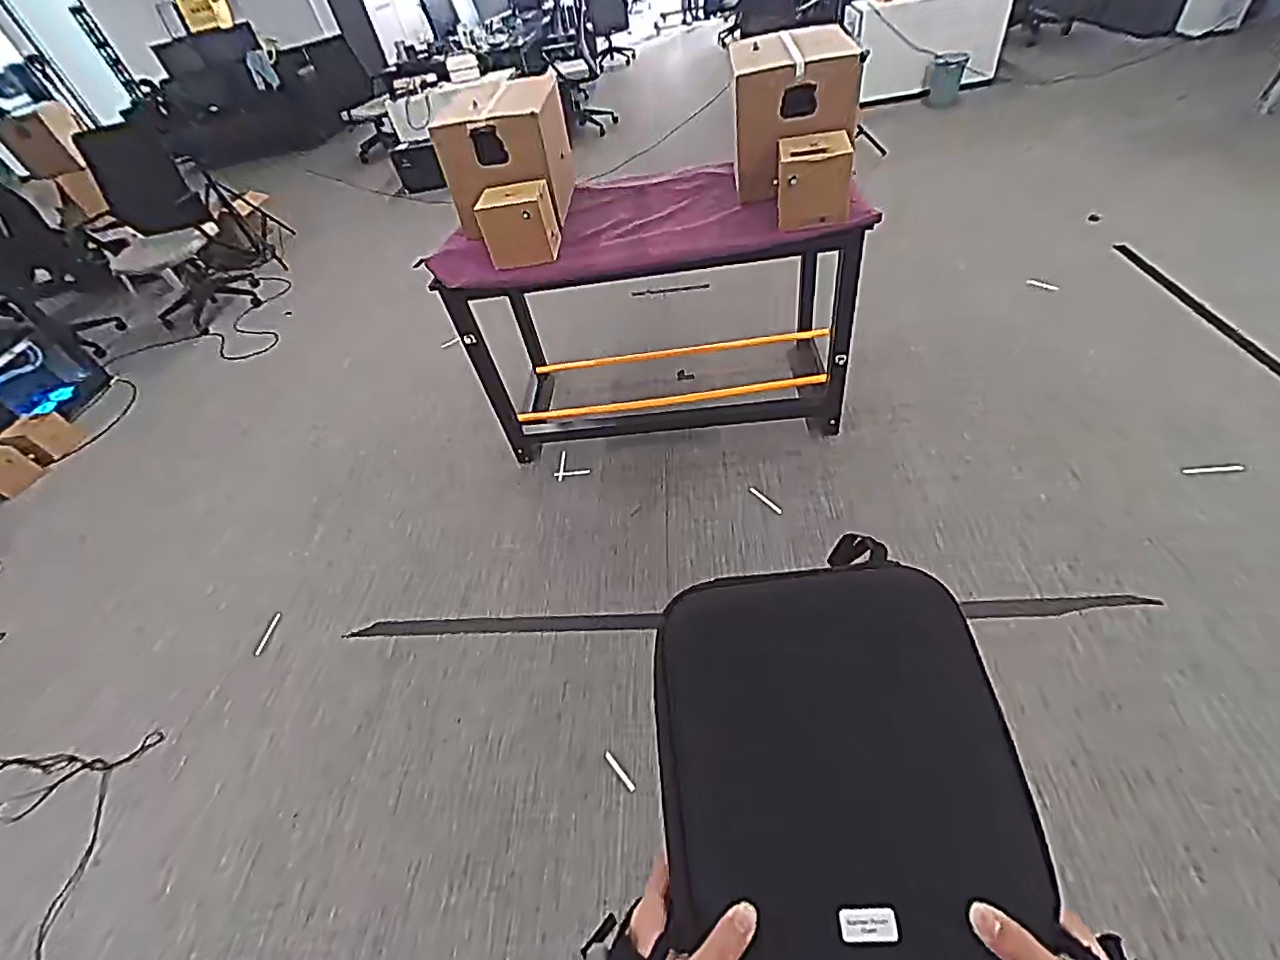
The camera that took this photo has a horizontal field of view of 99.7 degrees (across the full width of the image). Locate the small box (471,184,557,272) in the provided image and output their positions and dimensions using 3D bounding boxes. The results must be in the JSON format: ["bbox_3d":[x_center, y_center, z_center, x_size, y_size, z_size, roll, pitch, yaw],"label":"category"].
[{"bbox_3d":[-0.345,-0.699,1.511,0.179,0.176,0.168,-6,45,6],"label":"small box"}]

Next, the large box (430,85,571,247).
[{"bbox_3d":[-0.407,-0.988,1.697,0.320,0.320,0.408,-5,49,6],"label":"large box"}]
